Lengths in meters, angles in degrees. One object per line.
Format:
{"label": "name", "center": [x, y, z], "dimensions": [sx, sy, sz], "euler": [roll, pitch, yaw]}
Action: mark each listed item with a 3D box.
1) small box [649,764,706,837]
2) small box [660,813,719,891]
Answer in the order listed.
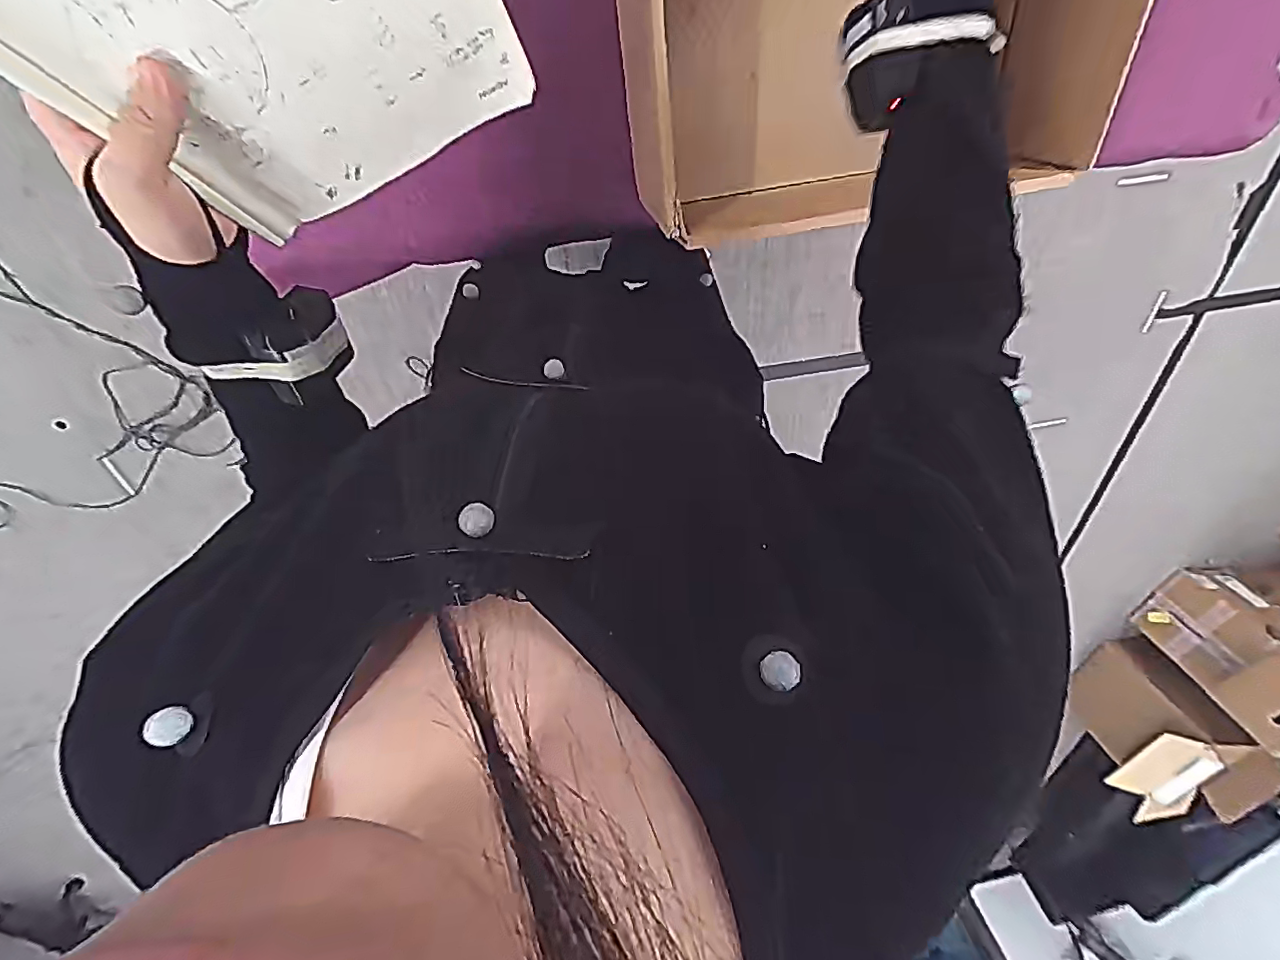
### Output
{"label": "small box", "center": [0.133, 1.188, 2.008], "dimensions": [0.179, 0.176, 0.168], "euler": [-8, 129, -9]}
{"label": "small box", "center": [0.167, 1.297, 1.889], "dimensions": [0.168, 0.176, 0.179], "euler": [-6, 129, -9]}
